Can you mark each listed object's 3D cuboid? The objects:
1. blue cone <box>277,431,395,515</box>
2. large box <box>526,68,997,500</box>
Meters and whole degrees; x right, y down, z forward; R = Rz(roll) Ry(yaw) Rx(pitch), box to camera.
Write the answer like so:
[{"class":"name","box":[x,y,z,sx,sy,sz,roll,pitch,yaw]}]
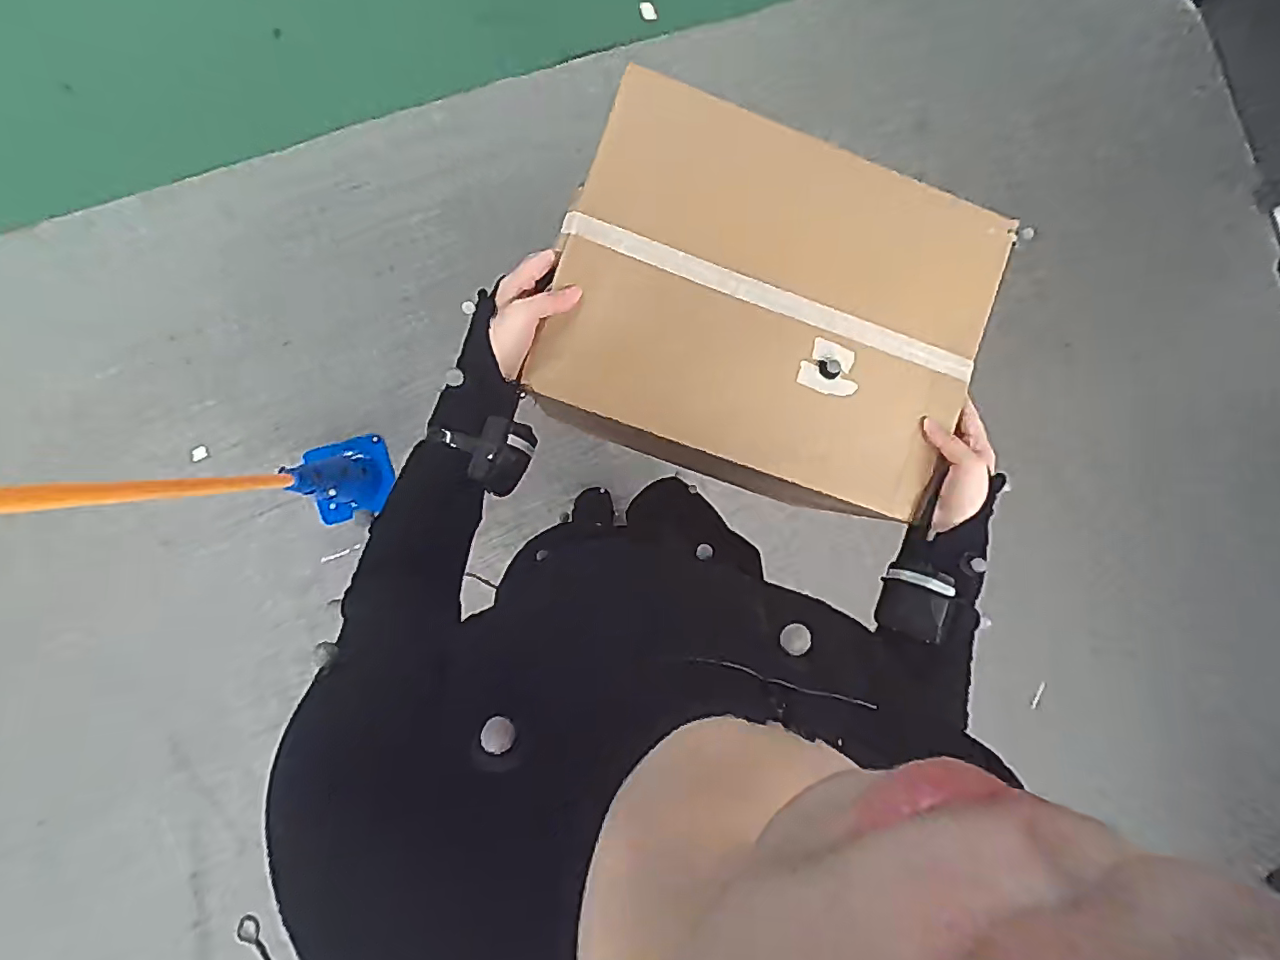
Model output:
[{"class":"blue cone","box":[-0.712,-0.018,1.224,0.193,0.380,0.192,-14,91,-10]},{"class":"large box","box":[0.108,-0.182,0.660,0.408,0.320,0.320,18,90,-6]}]
